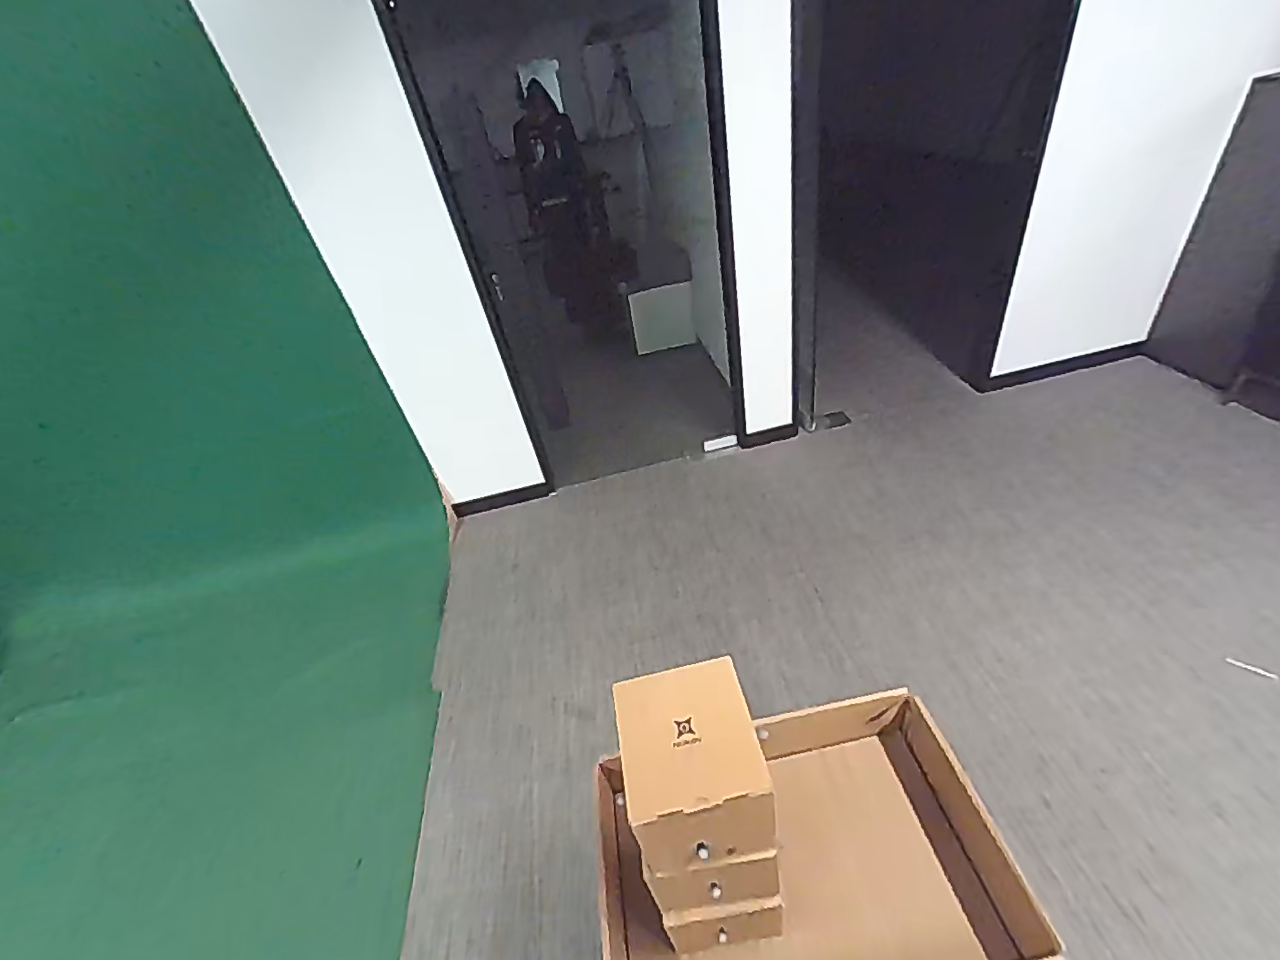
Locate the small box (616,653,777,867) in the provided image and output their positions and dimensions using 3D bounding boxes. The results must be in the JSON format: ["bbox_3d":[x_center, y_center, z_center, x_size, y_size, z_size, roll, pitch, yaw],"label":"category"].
[{"bbox_3d":[0.071,0.361,0.704,0.168,0.176,0.179,-13,37,-1],"label":"small box"}]

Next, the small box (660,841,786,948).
[{"bbox_3d":[0.128,0.629,0.882,0.179,0.176,0.168,-12,37,1],"label":"small box"}]
